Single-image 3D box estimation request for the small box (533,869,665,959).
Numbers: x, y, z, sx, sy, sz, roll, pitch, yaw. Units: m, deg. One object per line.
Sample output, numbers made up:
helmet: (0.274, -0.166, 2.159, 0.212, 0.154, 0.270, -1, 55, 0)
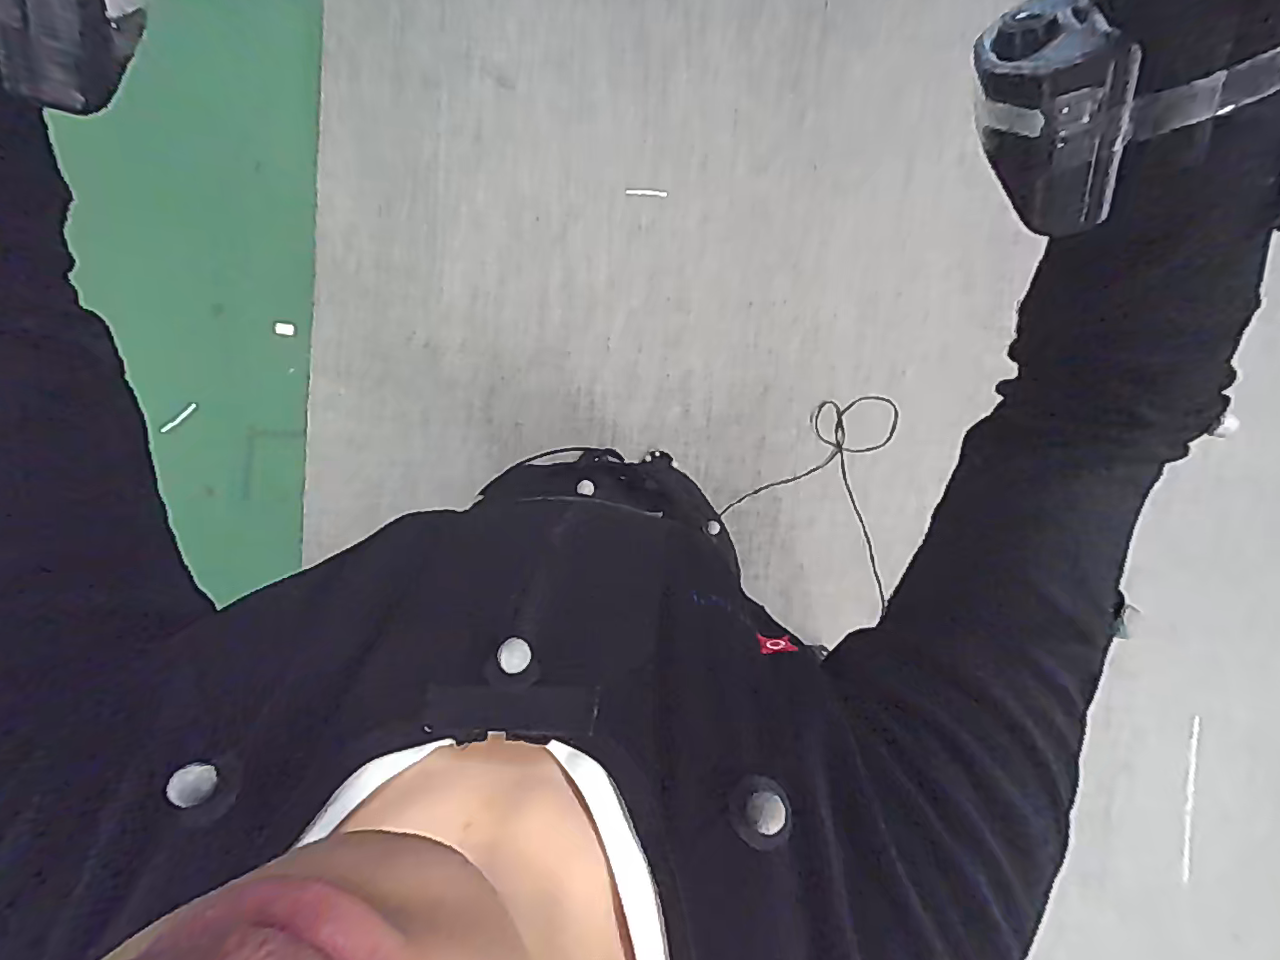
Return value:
small box: (-0.059, 0.659, 0.701, 0.168, 0.176, 0.179, 9, 92, -2)
